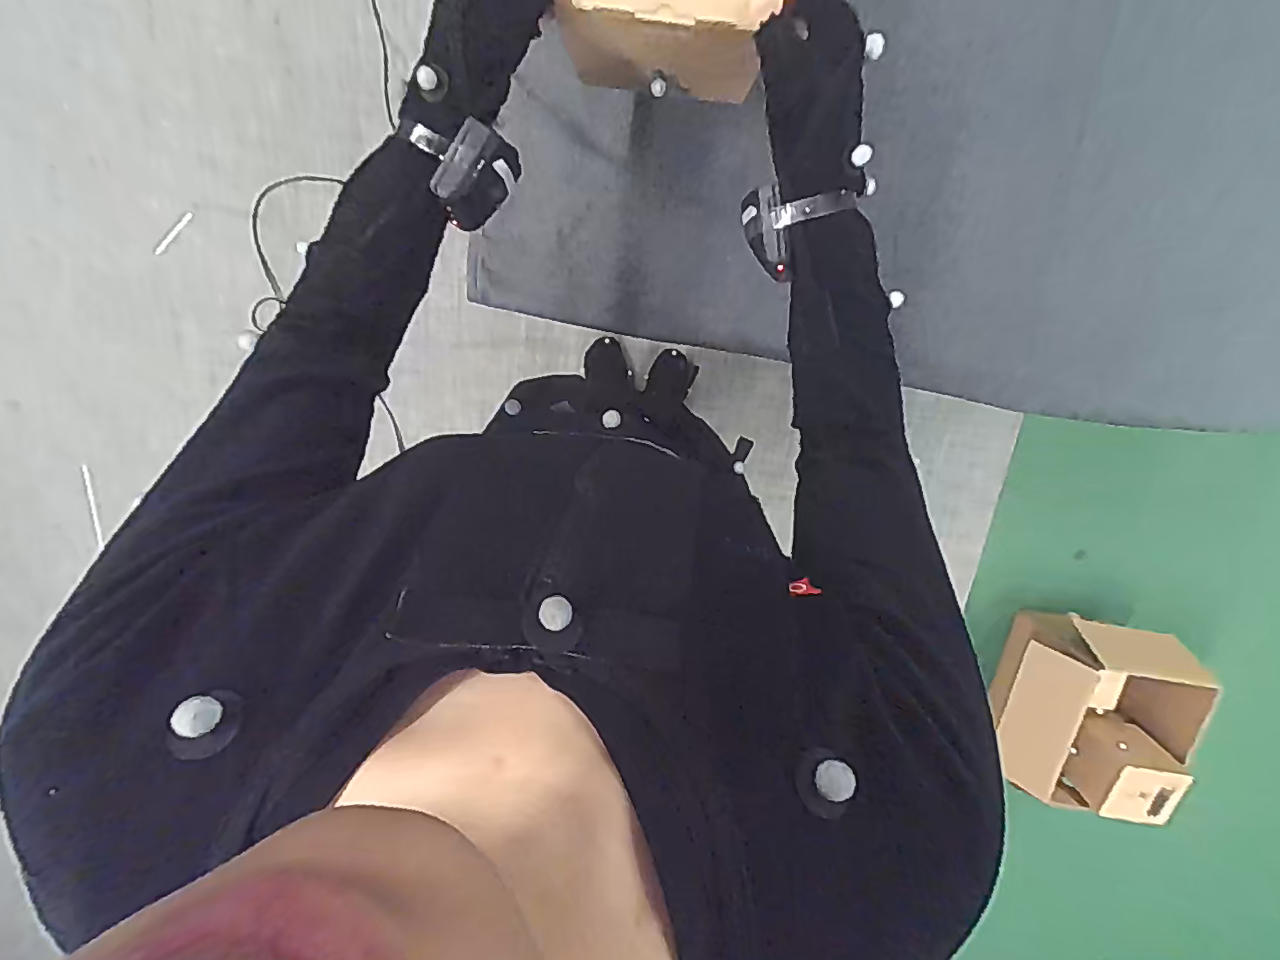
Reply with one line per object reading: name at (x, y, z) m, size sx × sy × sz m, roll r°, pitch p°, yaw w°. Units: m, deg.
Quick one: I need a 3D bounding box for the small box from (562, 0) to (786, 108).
small box at (0.032, -0.438, 0.440) m, size 0.168 × 0.176 × 0.179 m, roll 6°, pitch 110°, yaw -1°
